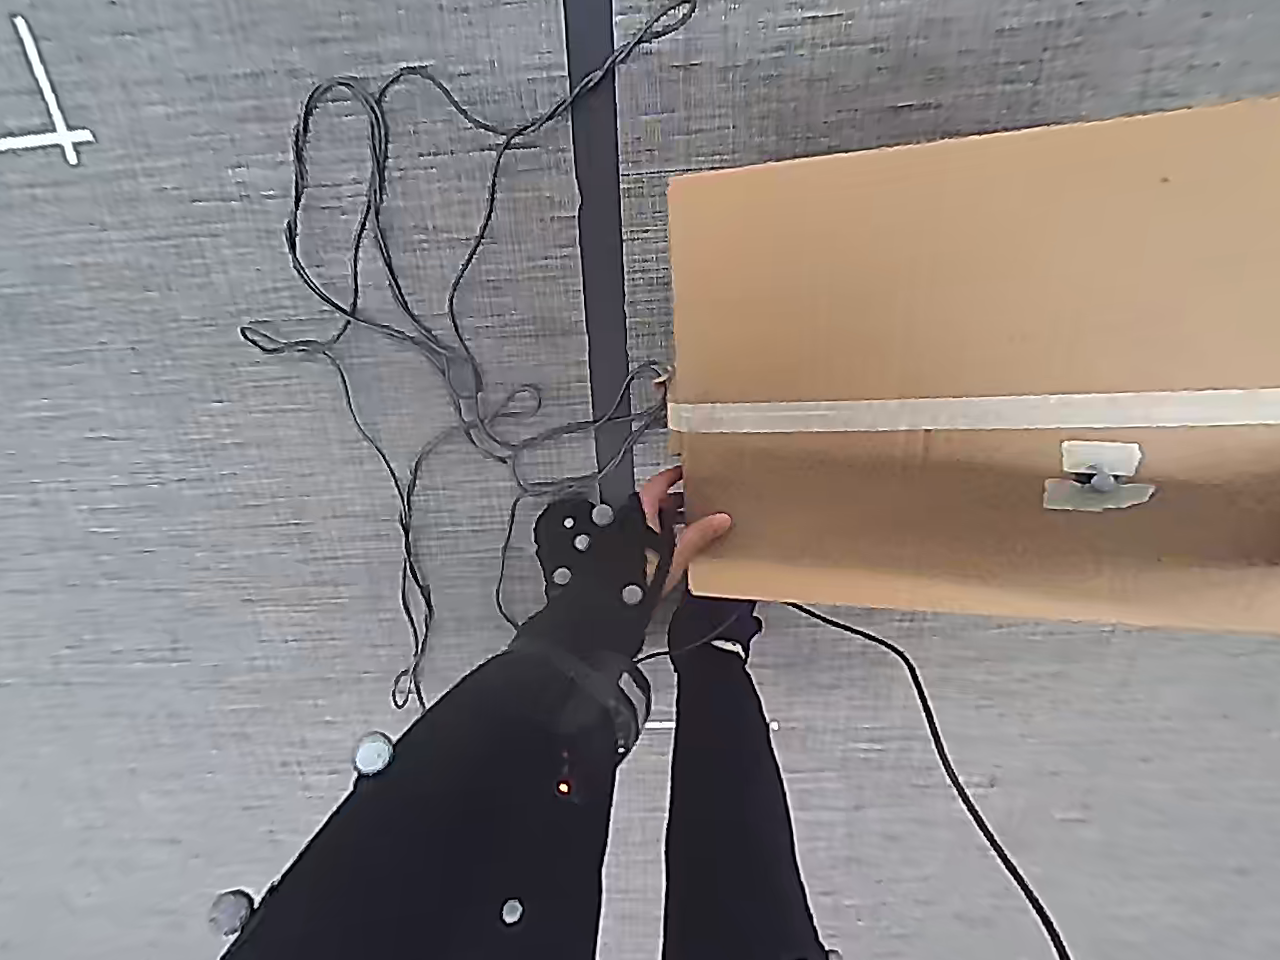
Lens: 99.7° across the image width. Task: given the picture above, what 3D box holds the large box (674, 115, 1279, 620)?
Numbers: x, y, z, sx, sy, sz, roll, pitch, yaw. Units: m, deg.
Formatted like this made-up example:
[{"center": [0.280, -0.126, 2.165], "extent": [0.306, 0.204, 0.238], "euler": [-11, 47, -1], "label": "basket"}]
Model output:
[{"center": [0.258, -0.095, 0.497], "extent": [0.408, 0.320, 0.320], "euler": [0, 111, 13], "label": "large box"}]
